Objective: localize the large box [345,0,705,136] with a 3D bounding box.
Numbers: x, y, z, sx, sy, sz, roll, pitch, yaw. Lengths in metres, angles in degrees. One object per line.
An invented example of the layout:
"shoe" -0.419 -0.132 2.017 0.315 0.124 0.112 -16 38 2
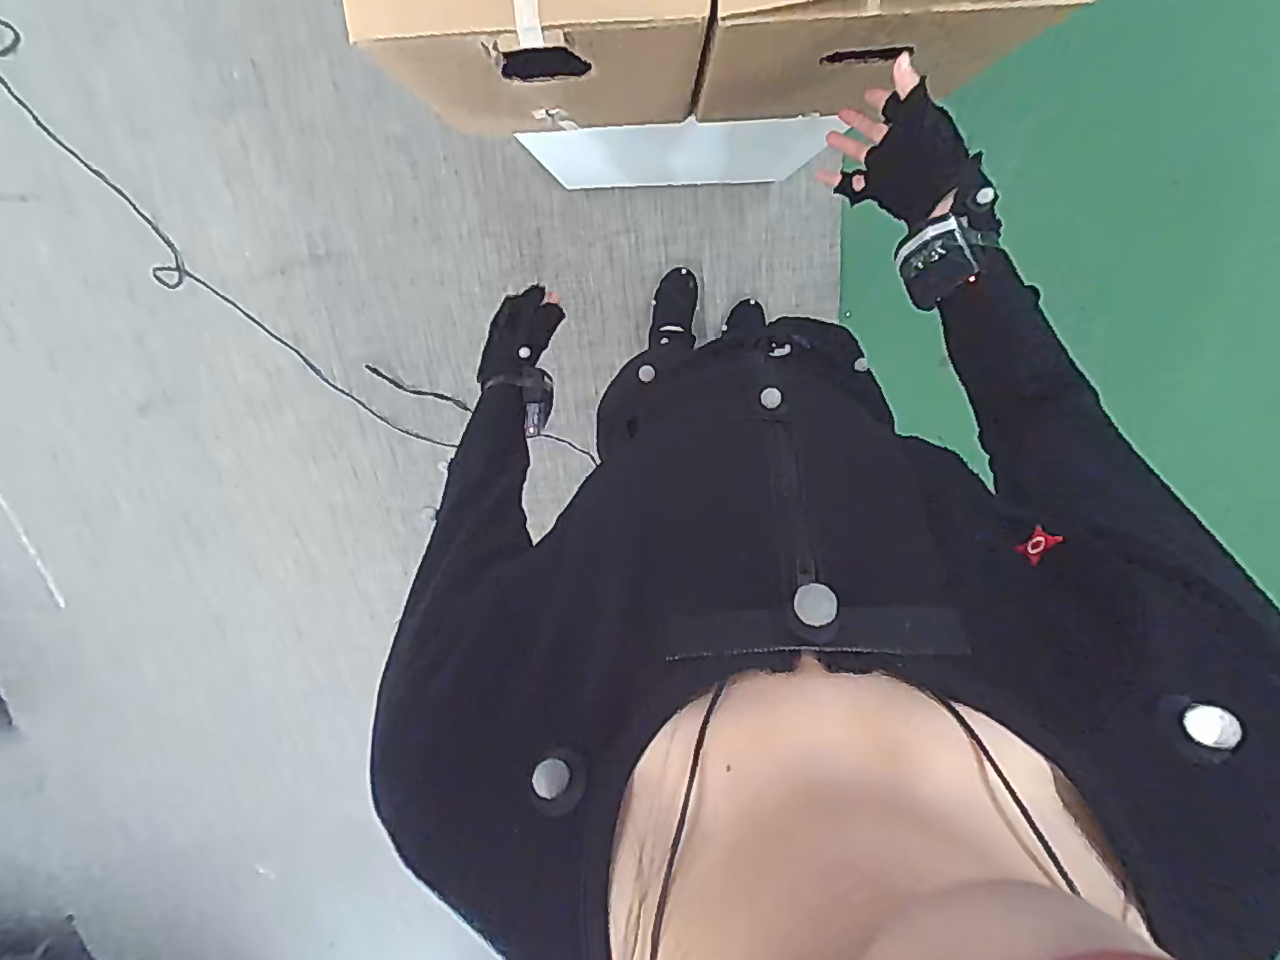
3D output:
"large box" -0.102 -0.623 0.541 0.320 0.320 0.408 -2 109 2
